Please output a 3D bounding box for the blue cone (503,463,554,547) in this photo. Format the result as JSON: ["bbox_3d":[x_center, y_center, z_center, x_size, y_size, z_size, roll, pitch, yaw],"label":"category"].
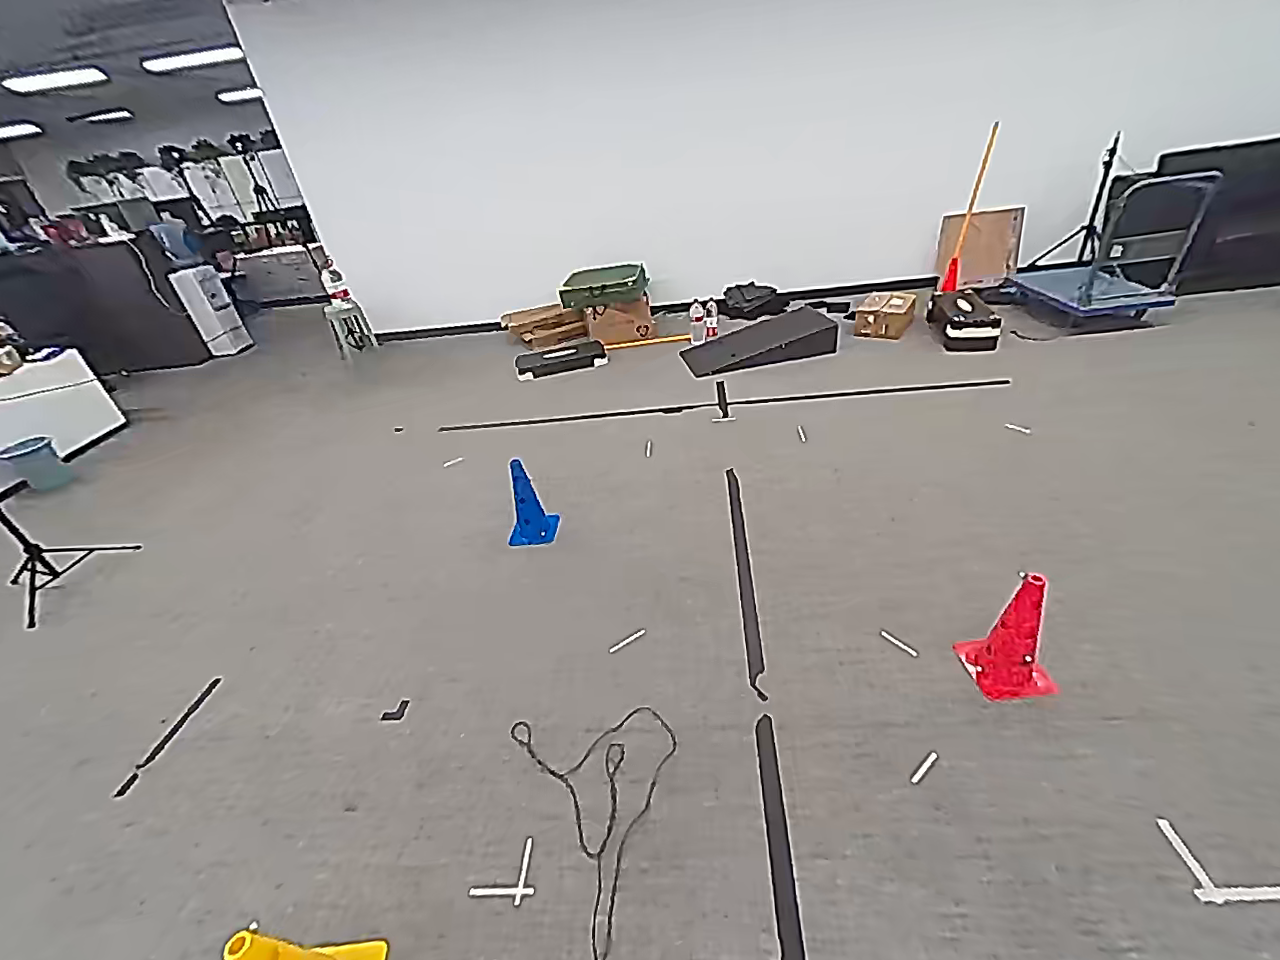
[{"bbox_3d":[-0.501,0.093,2.288,0.192,0.380,0.193,-5,33,8],"label":"blue cone"}]

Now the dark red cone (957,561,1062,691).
[{"bbox_3d":[1.026,0.373,1.458,0.201,0.394,0.202,-9,33,1],"label":"dark red cone"}]
